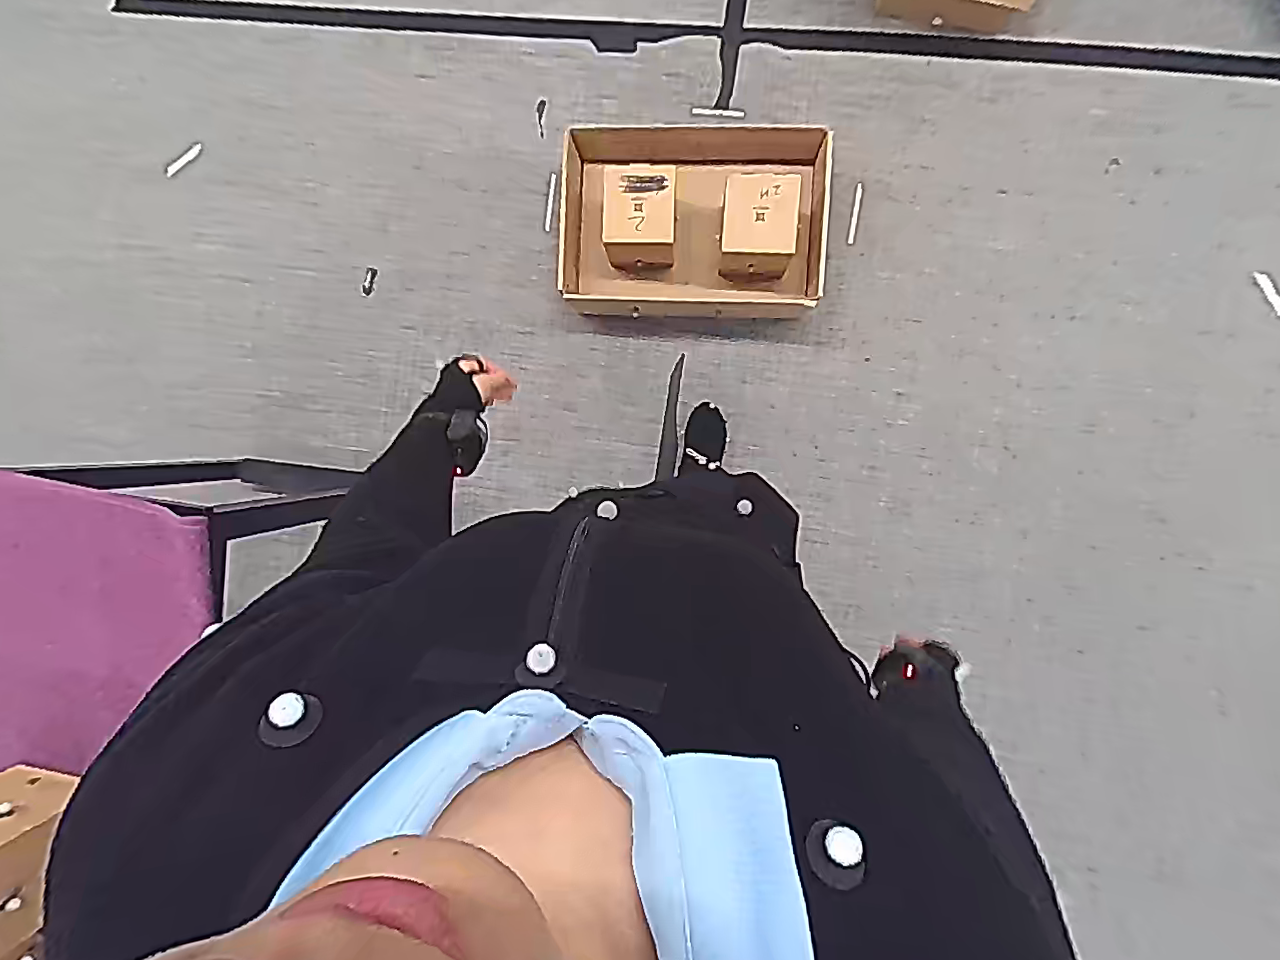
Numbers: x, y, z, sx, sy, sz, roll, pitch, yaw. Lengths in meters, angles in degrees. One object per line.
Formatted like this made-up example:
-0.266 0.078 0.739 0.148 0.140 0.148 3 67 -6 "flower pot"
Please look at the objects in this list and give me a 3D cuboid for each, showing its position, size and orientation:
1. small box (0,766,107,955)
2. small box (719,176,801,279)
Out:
-0.945 0.557 0.794 0.168 0.176 0.179 9 95 5 "small box"
0.279 -0.594 1.291 0.168 0.176 0.179 5 93 5 "small box"
